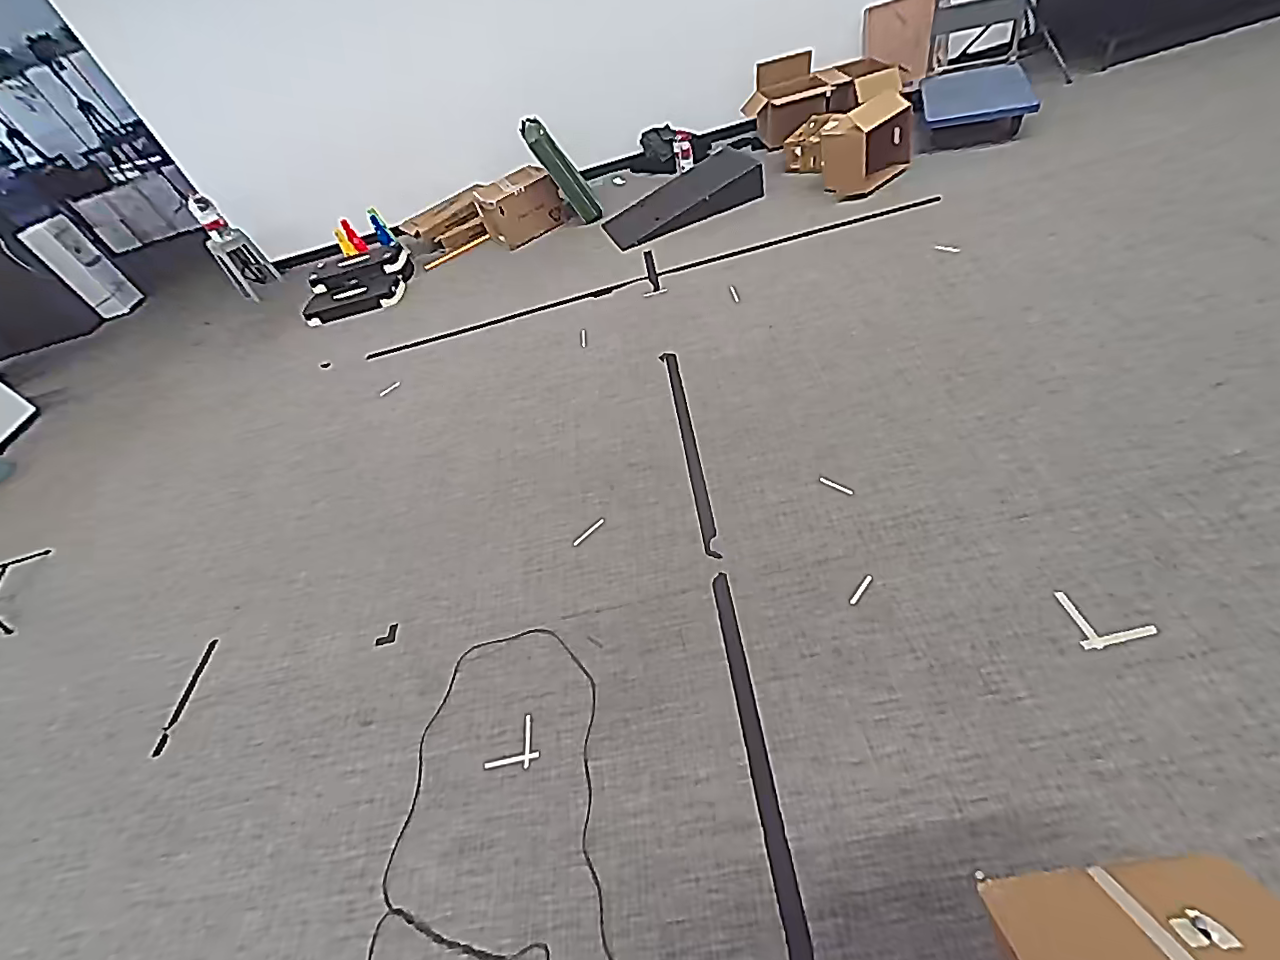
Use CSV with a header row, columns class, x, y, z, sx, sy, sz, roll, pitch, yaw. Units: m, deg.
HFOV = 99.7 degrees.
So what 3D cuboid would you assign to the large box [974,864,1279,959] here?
class,x,y,z,sx,sy,sz,roll,pitch,yaw
large box,0.629,0.687,0.551,0.320,0.408,0.320,-14,81,10
